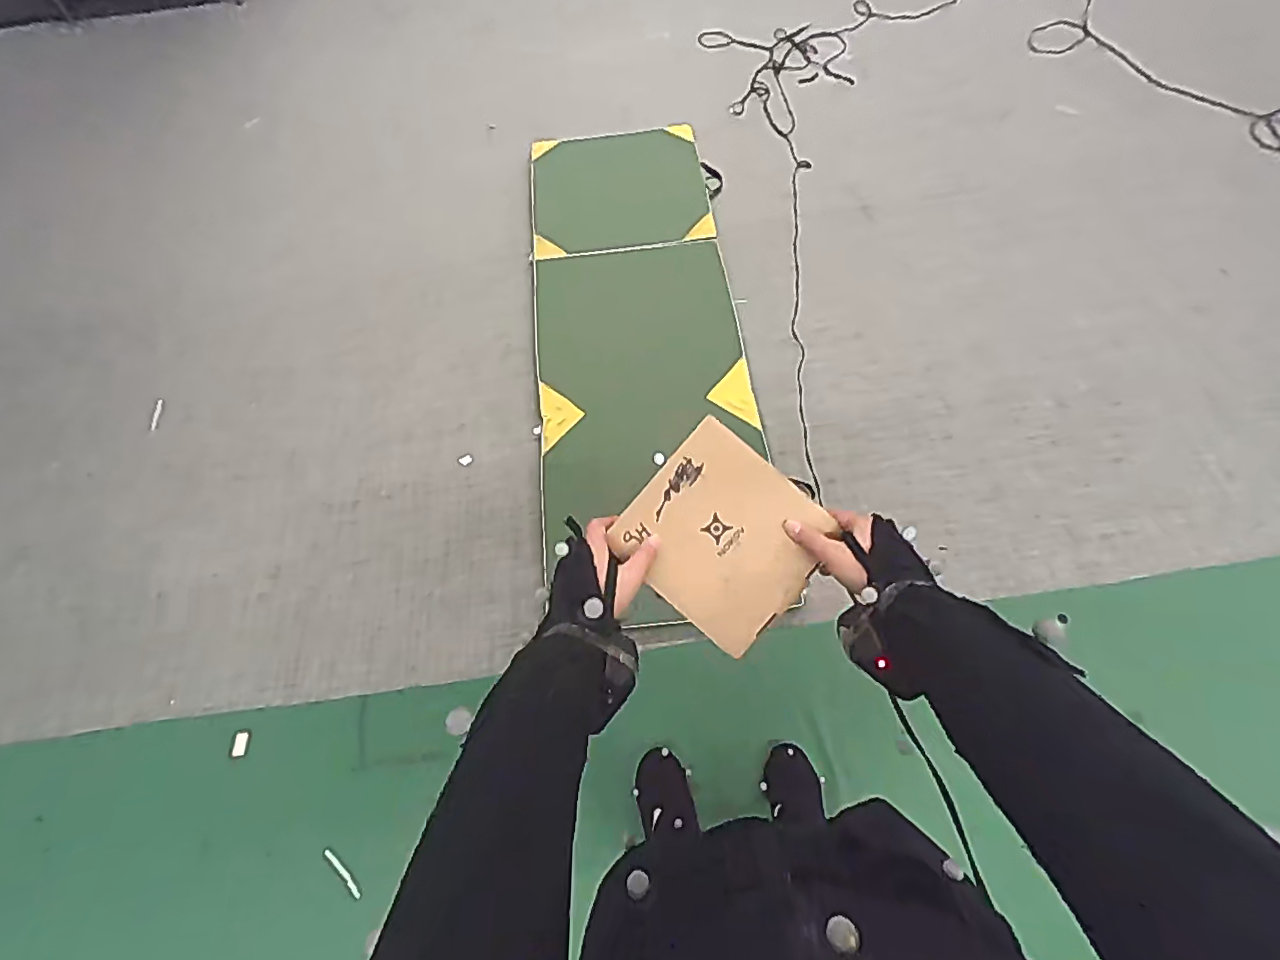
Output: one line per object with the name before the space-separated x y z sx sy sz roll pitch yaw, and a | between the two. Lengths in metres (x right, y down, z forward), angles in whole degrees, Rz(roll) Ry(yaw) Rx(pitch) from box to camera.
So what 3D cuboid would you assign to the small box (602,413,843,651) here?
small box | 0.083 0.054 0.602 0.179 0.176 0.168 41 88 5
